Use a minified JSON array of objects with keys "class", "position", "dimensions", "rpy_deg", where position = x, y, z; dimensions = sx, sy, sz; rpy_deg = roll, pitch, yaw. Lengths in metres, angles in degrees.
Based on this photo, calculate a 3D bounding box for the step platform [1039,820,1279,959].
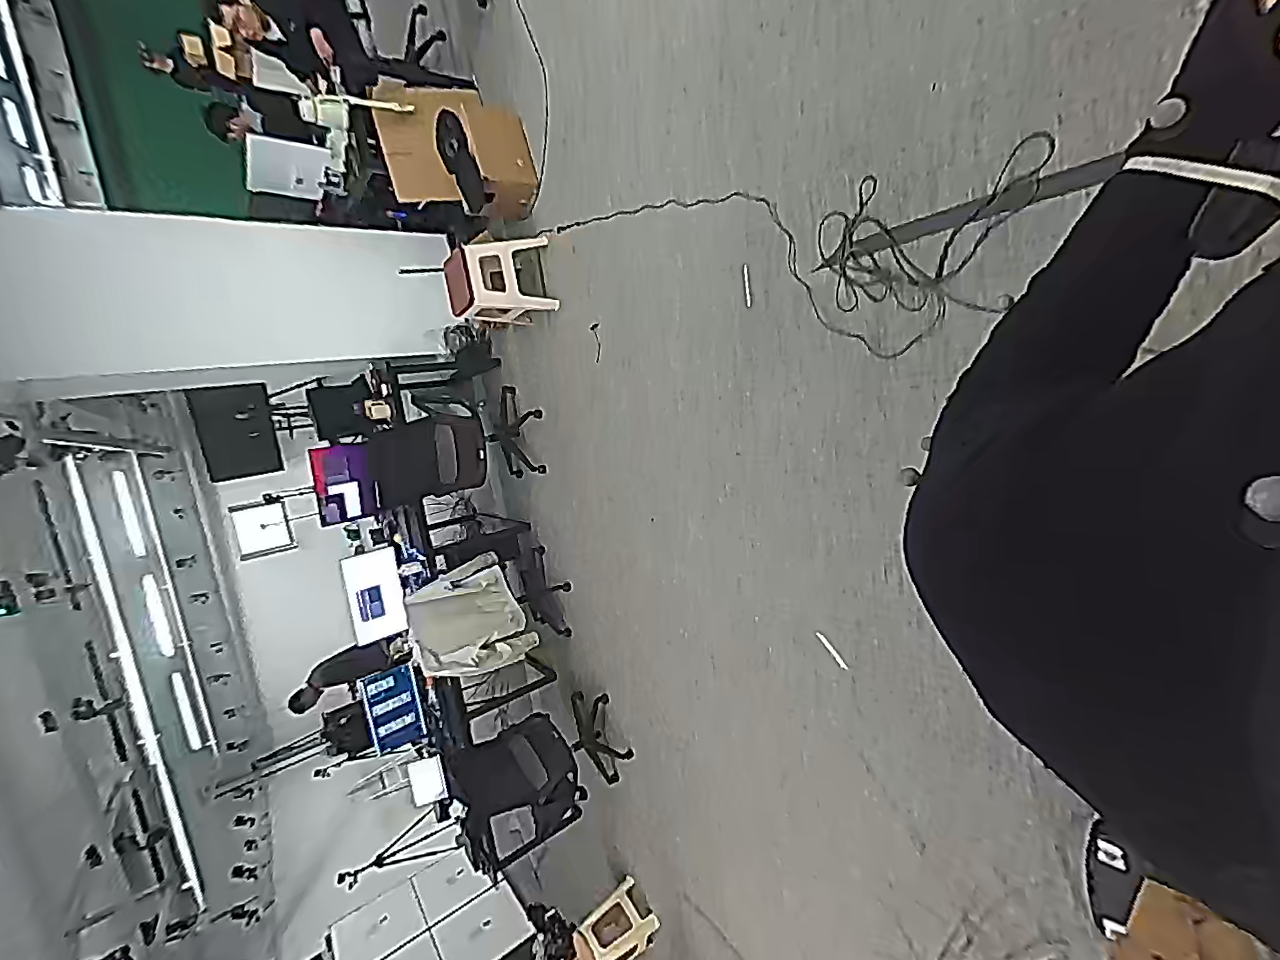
[{"class":"step platform","position":[1.111,0.892,0.907],"dimensions":[0.684,0.204,0.286],"rpy_deg":[1,103,55]}]

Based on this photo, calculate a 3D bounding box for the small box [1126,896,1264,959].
[{"class":"small box","position":[1.069,0.920,1.038],"dimensions":[0.168,0.176,0.179],"rpy_deg":[-1,101,54]}]

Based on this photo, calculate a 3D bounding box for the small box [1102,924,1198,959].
[{"class":"small box","position":[0.934,0.958,0.952],"dimensions":[0.168,0.176,0.179],"rpy_deg":[-2,100,54]}]
